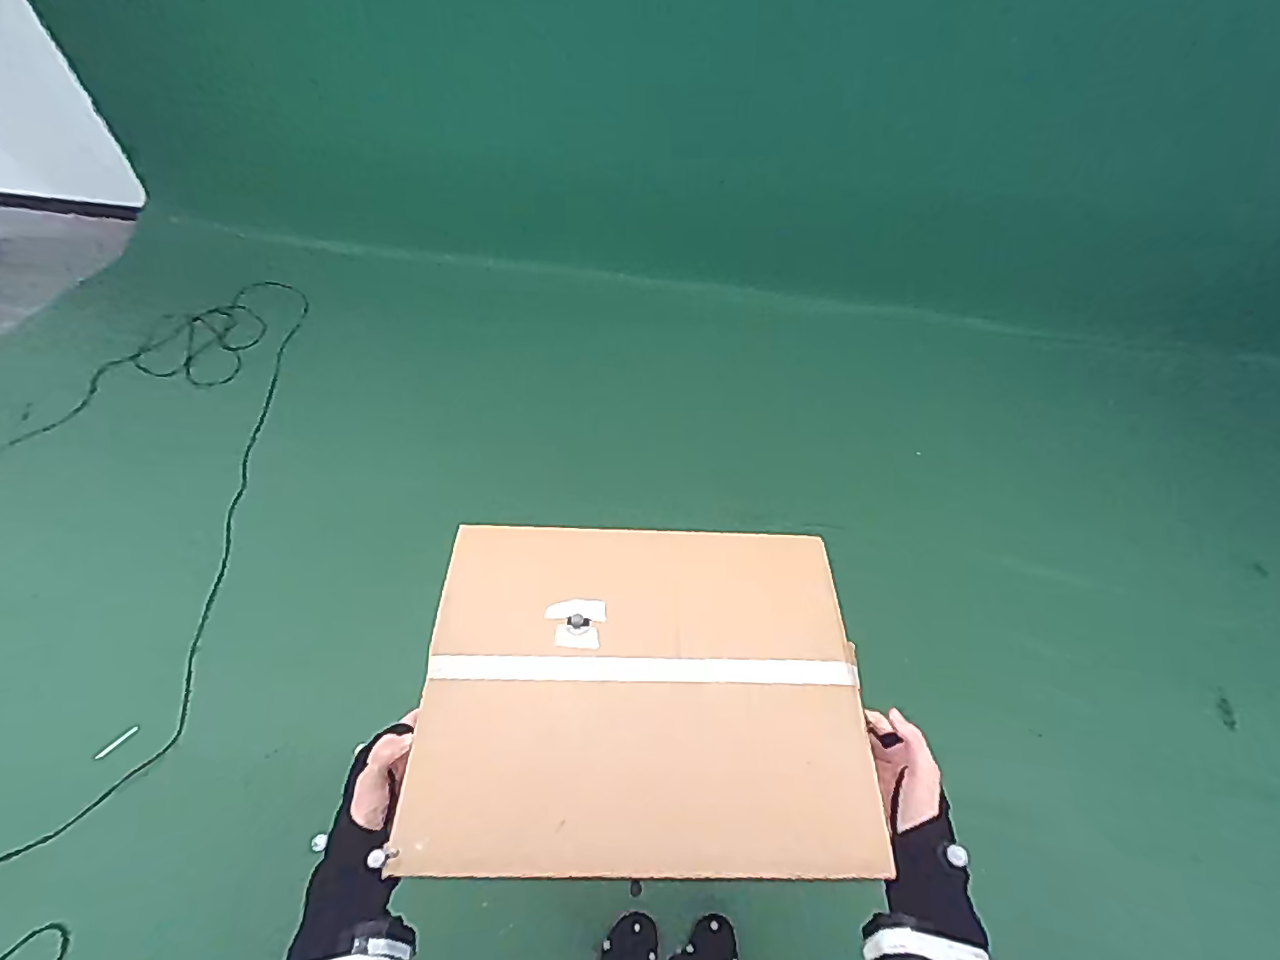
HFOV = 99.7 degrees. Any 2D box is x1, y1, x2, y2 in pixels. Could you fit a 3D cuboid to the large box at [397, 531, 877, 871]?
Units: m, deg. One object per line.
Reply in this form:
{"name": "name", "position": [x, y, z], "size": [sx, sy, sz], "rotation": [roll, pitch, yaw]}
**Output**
{"name": "large box", "position": [-0.004, 0.269, 0.648], "size": [0.408, 0.320, 0.320], "rotation": [1, 55, -2]}
